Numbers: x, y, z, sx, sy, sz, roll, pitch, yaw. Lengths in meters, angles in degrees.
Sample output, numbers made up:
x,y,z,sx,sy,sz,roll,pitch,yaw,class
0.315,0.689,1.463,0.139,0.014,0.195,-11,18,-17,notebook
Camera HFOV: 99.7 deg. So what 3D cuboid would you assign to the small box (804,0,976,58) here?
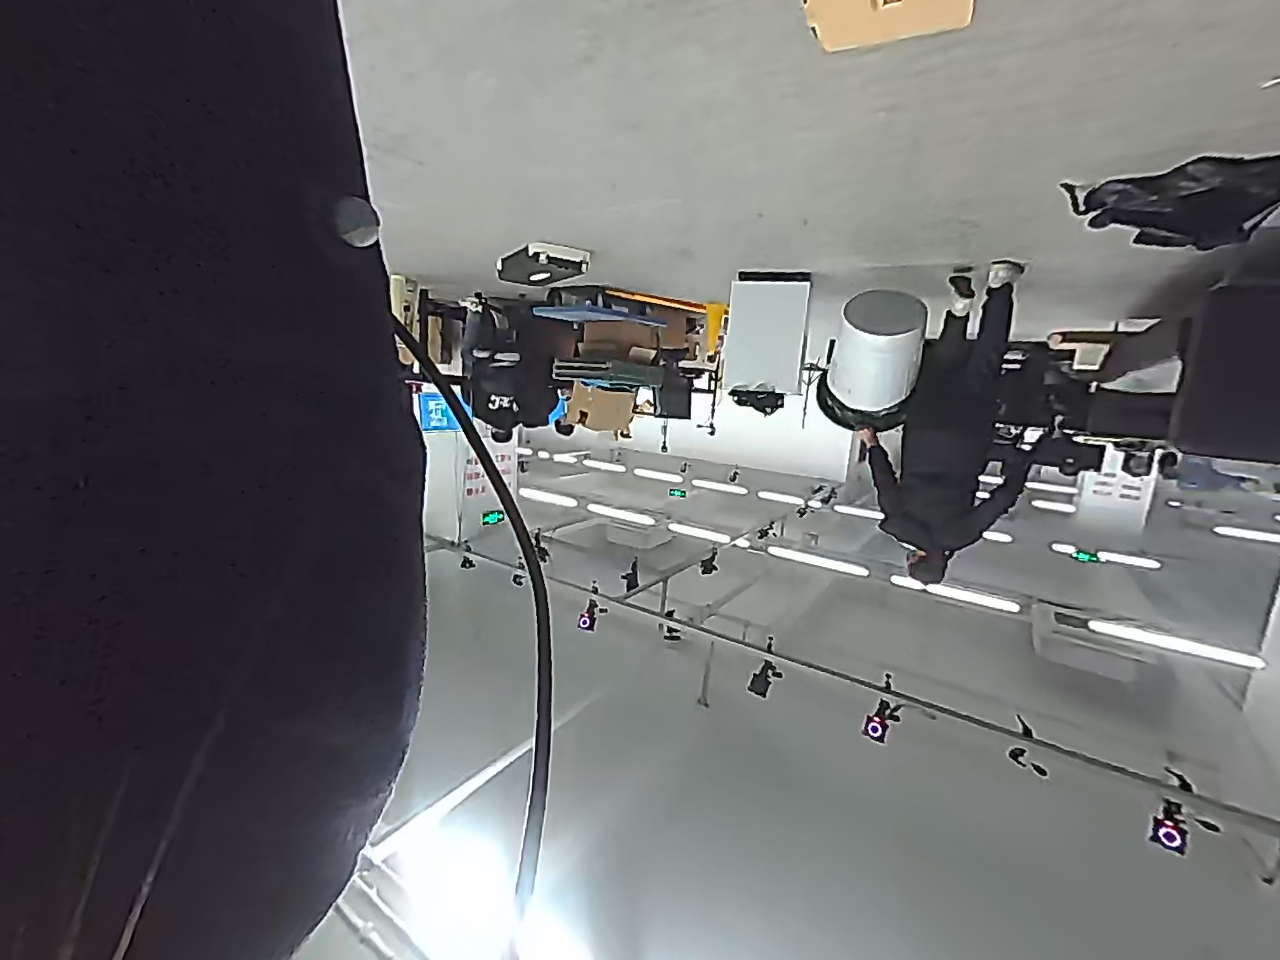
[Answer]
x,y,z,sx,sy,sz,roll,pitch,yaw,class
0.283,-0.613,0.588,0.179,0.176,0.168,9,-167,26,small box
